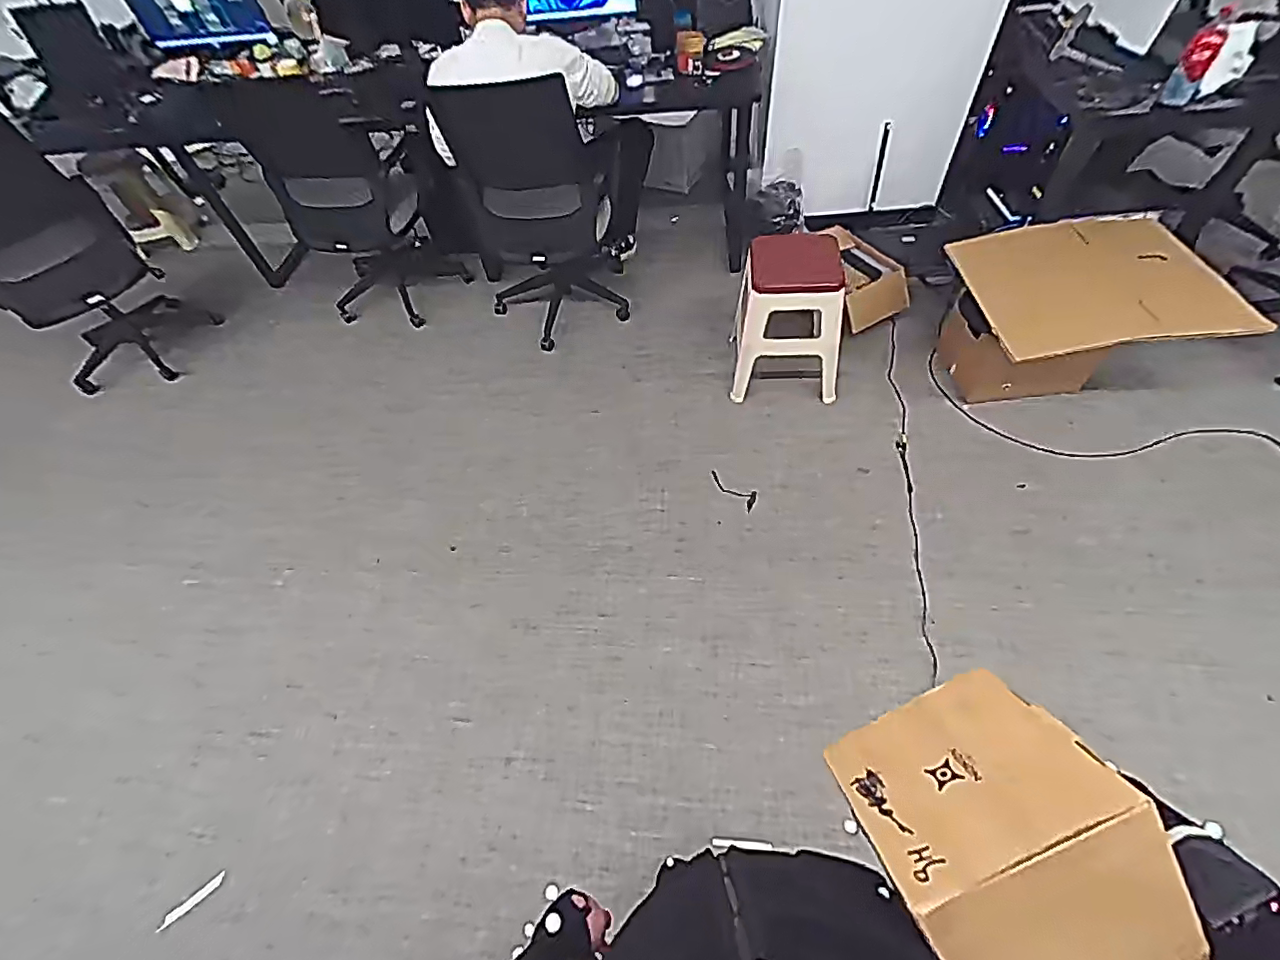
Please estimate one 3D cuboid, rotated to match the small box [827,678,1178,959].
[{"bbox_3d":[0.300,0.316,0.466,0.179,0.176,0.168,-28,11,2],"label":"small box"}]
